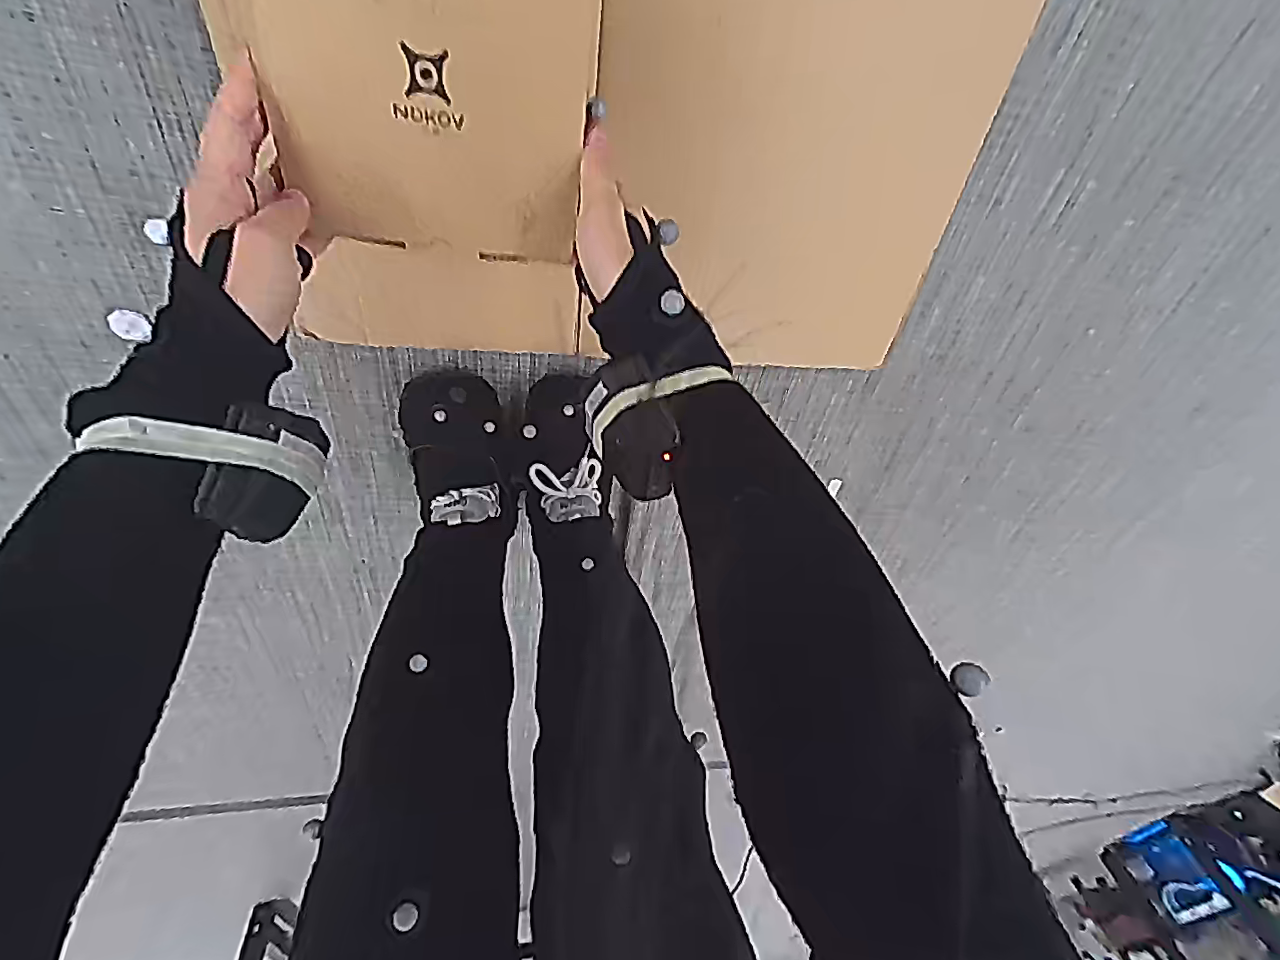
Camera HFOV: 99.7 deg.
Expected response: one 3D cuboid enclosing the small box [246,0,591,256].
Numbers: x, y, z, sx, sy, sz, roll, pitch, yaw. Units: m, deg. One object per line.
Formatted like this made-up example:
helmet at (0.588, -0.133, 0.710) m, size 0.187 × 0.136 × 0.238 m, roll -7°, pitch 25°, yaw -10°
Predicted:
small box at (-0.119, -0.268, 0.342) m, size 0.168 × 0.176 × 0.179 m, roll 2°, pitch 133°, yaw -11°
